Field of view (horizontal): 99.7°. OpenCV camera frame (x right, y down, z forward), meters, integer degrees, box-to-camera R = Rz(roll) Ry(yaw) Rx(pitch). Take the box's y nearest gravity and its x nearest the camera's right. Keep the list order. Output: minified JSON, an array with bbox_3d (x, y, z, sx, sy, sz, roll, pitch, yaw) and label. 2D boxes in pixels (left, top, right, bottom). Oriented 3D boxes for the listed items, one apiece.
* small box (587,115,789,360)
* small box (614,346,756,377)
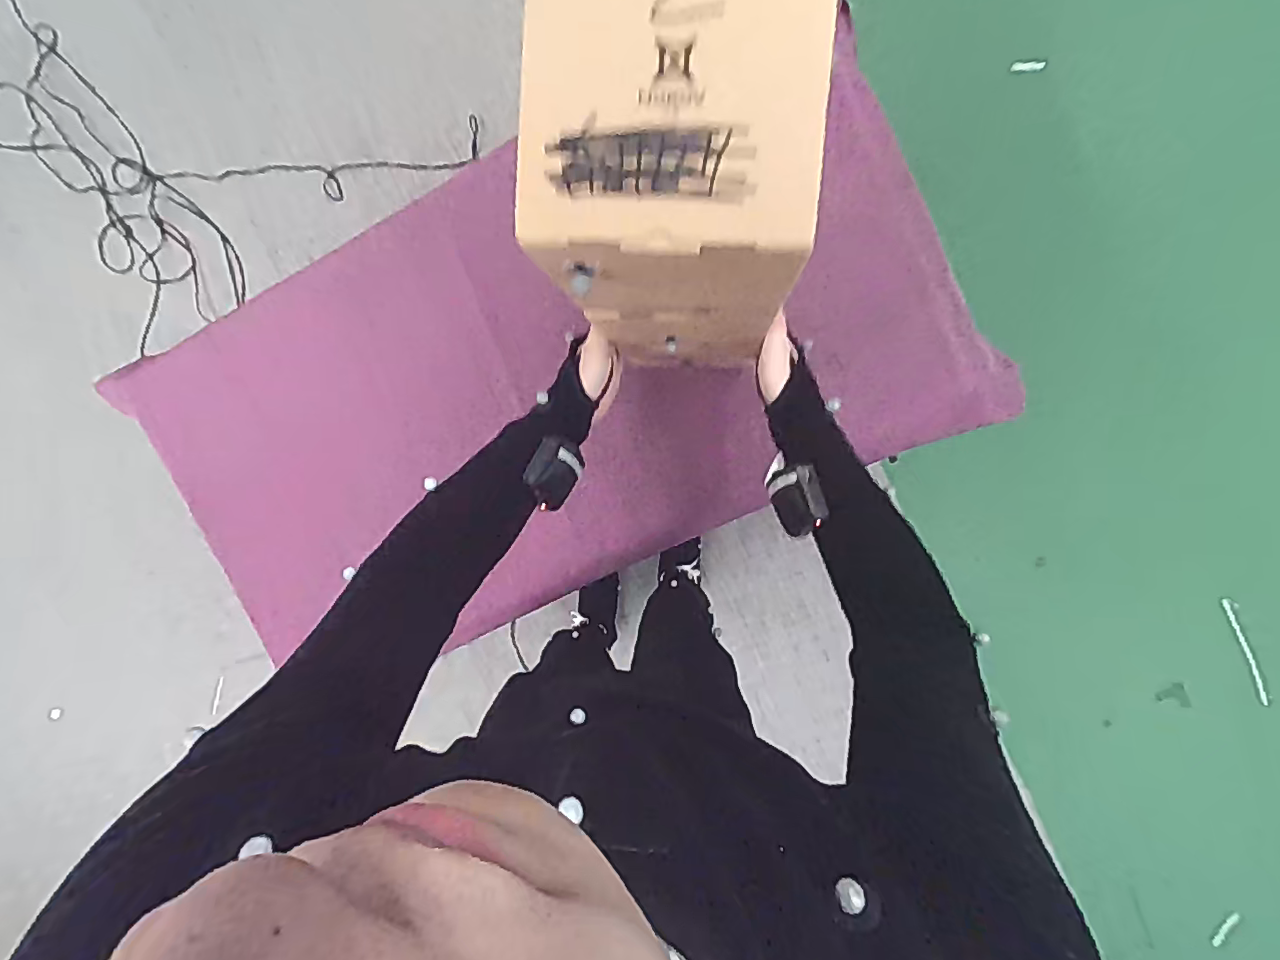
[{"bbox_3d":[0.045,-0.219,0.532,0.168,0.176,0.179,2,96,6],"label":"small box"},{"bbox_3d":[0.063,-0.232,0.692,0.168,0.176,0.179,3,95,7],"label":"small box"}]
